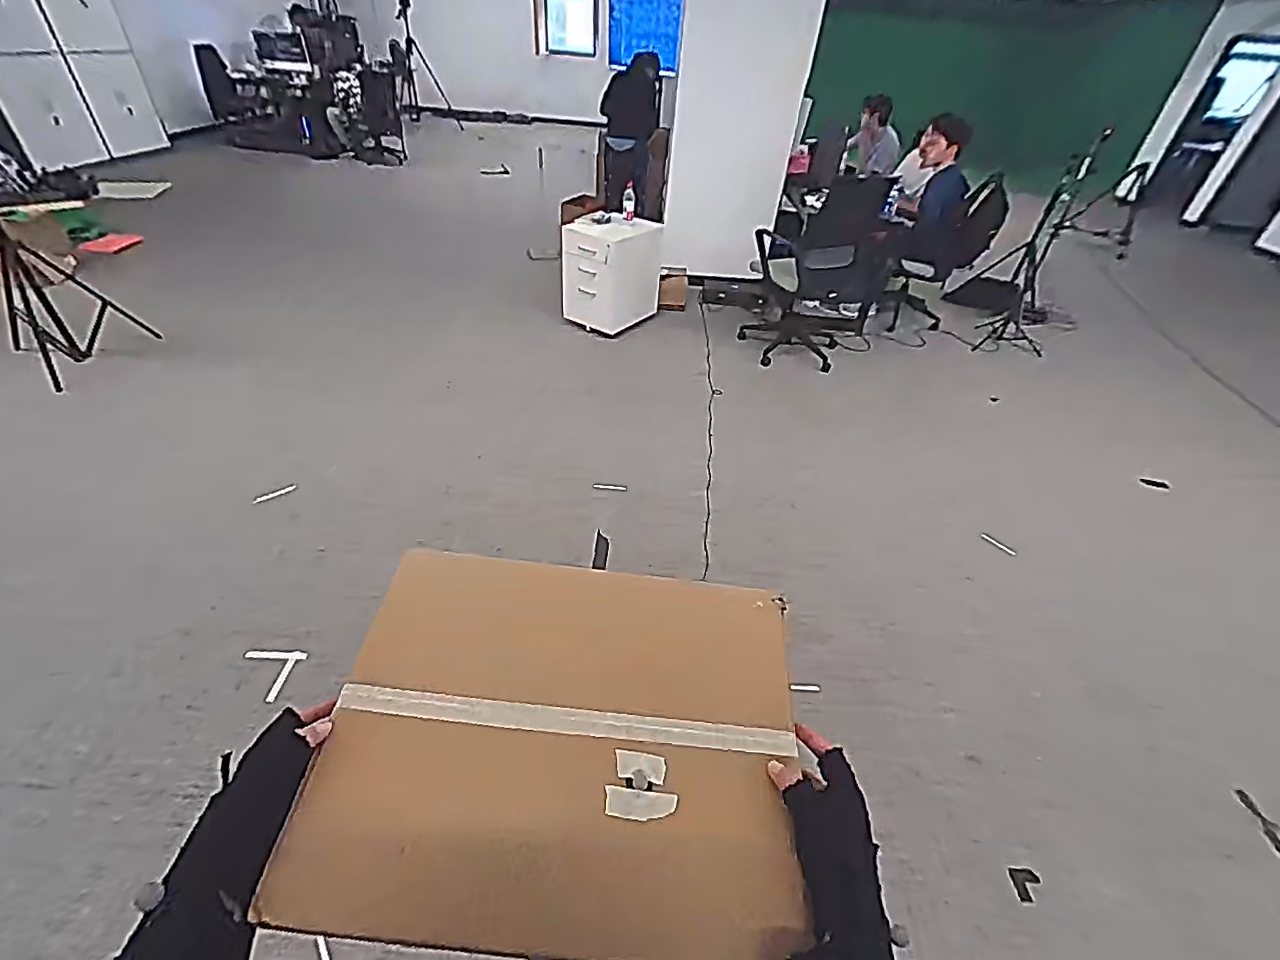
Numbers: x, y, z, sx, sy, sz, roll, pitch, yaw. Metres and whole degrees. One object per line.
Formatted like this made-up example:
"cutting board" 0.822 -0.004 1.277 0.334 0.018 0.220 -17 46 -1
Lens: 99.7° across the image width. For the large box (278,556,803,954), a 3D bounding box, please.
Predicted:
"large box" -0.077 0.315 0.611 0.408 0.320 0.320 7 50 -1
